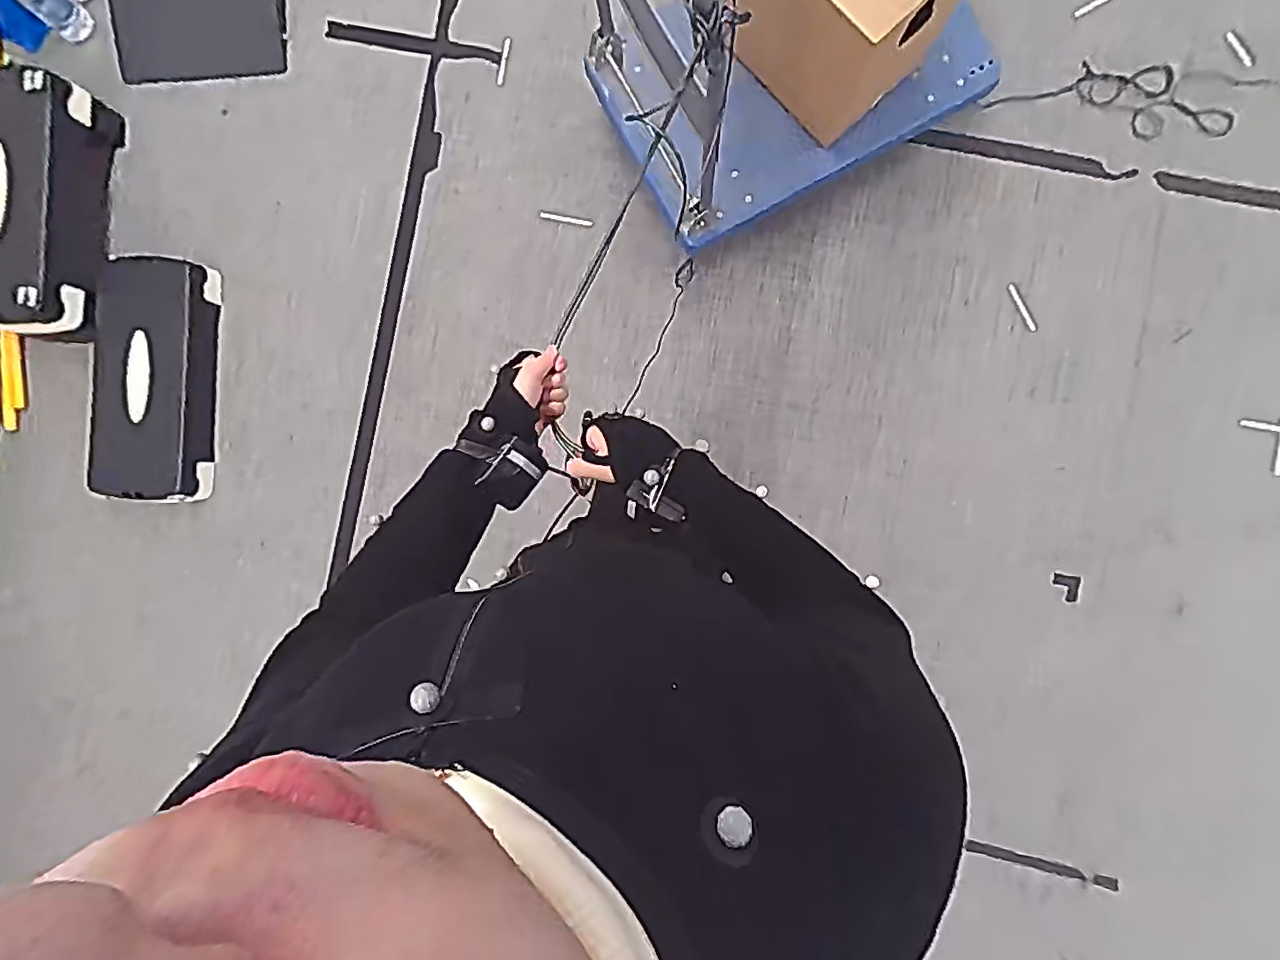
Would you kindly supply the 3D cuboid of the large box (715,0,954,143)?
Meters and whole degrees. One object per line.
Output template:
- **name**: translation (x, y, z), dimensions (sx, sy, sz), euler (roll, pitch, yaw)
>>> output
- **large box**: translation (0.420, -1.058, 1.168), dimensions (0.320, 0.320, 0.408), euler (-43, 88, 1)
